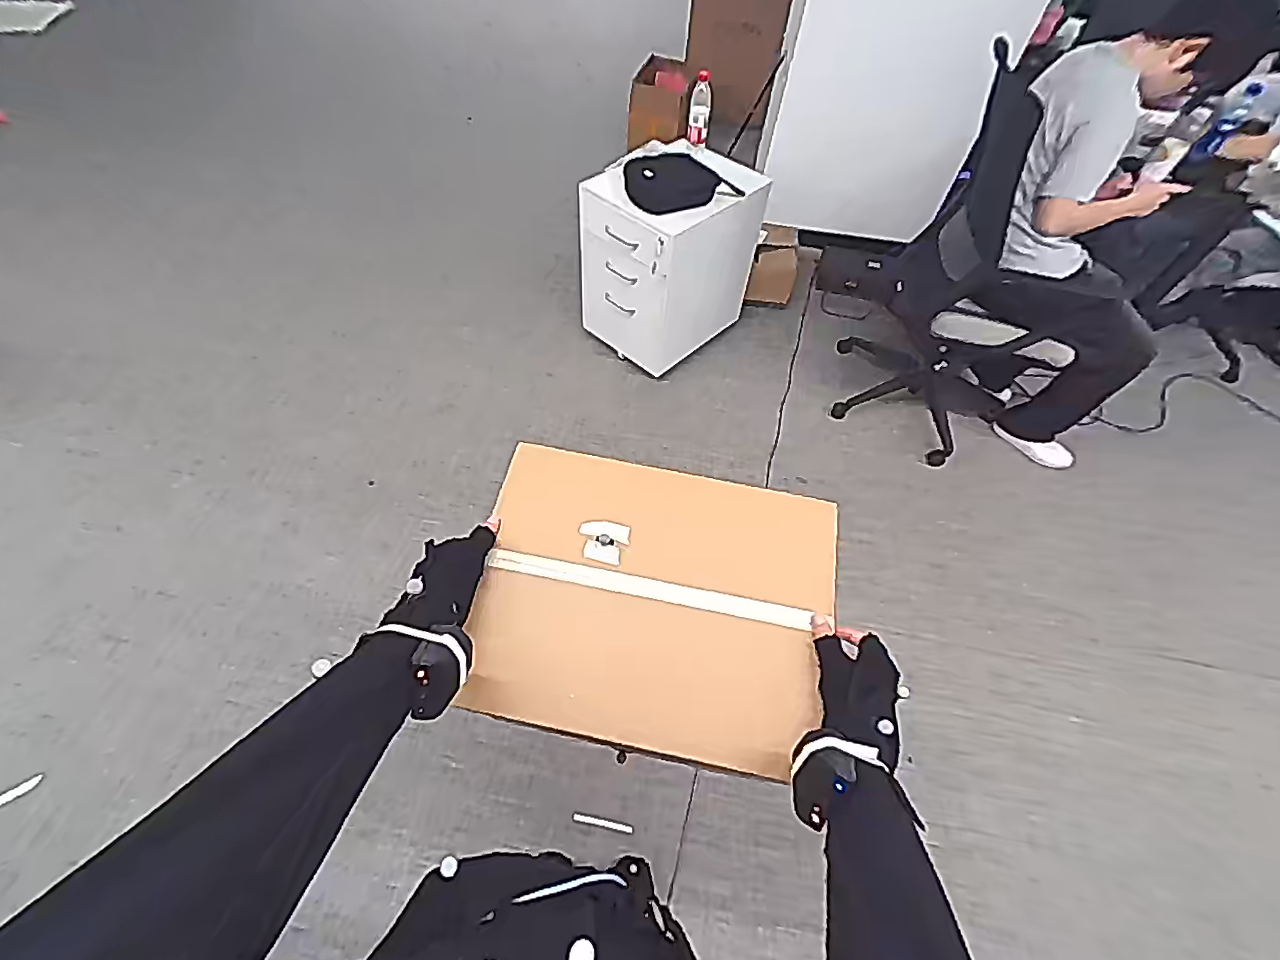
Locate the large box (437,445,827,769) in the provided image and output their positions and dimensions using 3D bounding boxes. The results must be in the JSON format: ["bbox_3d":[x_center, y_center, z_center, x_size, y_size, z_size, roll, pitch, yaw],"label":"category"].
[{"bbox_3d":[0.010,0.187,0.749,0.408,0.320,0.320,11,62,5],"label":"large box"}]
